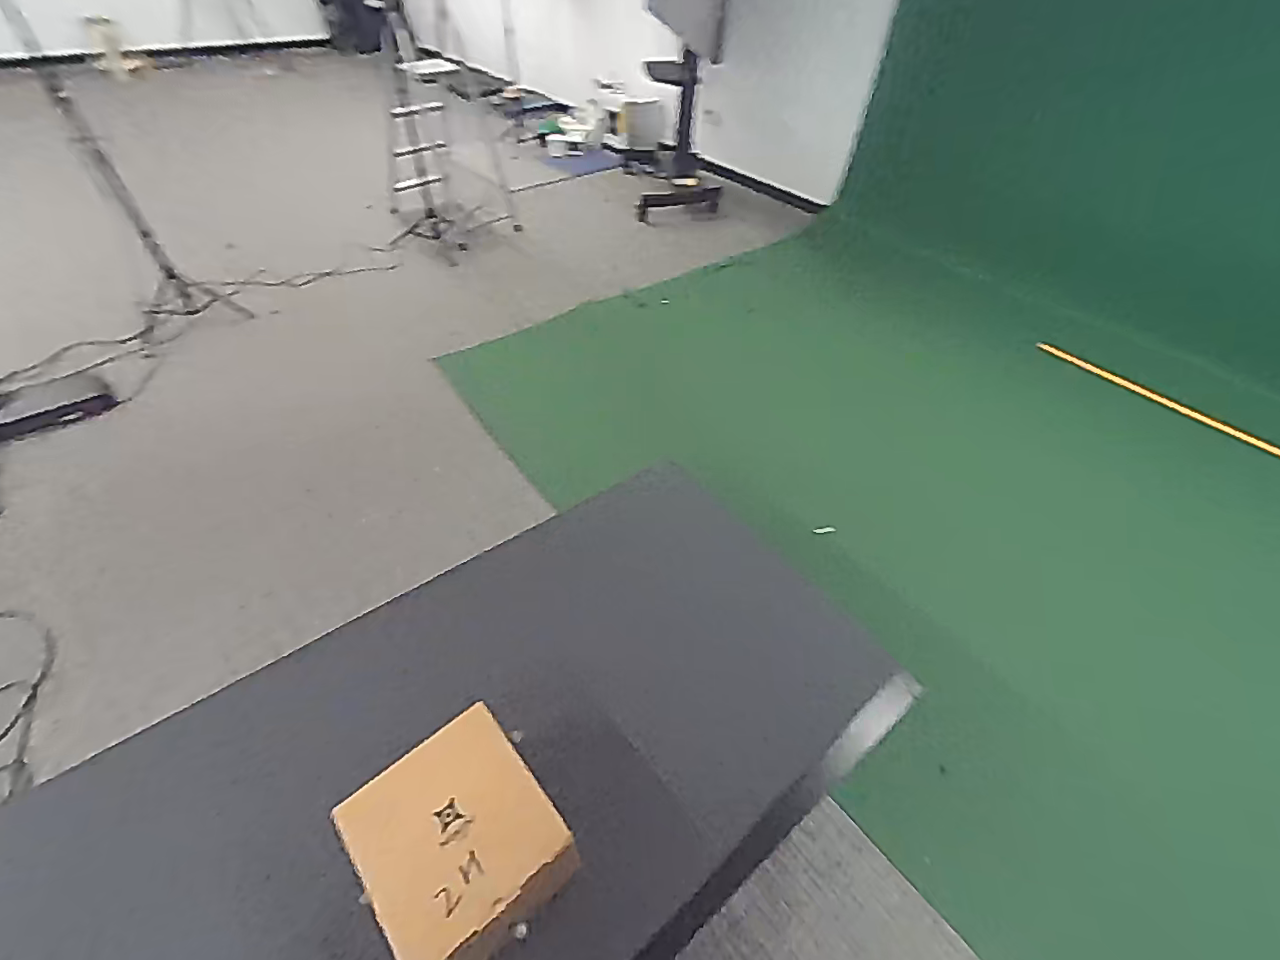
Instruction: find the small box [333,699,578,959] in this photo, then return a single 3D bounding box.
[{"bbox_3d":[-0.182,0.378,0.569,0.168,0.176,0.179,-32,55,-29],"label":"small box"}]
